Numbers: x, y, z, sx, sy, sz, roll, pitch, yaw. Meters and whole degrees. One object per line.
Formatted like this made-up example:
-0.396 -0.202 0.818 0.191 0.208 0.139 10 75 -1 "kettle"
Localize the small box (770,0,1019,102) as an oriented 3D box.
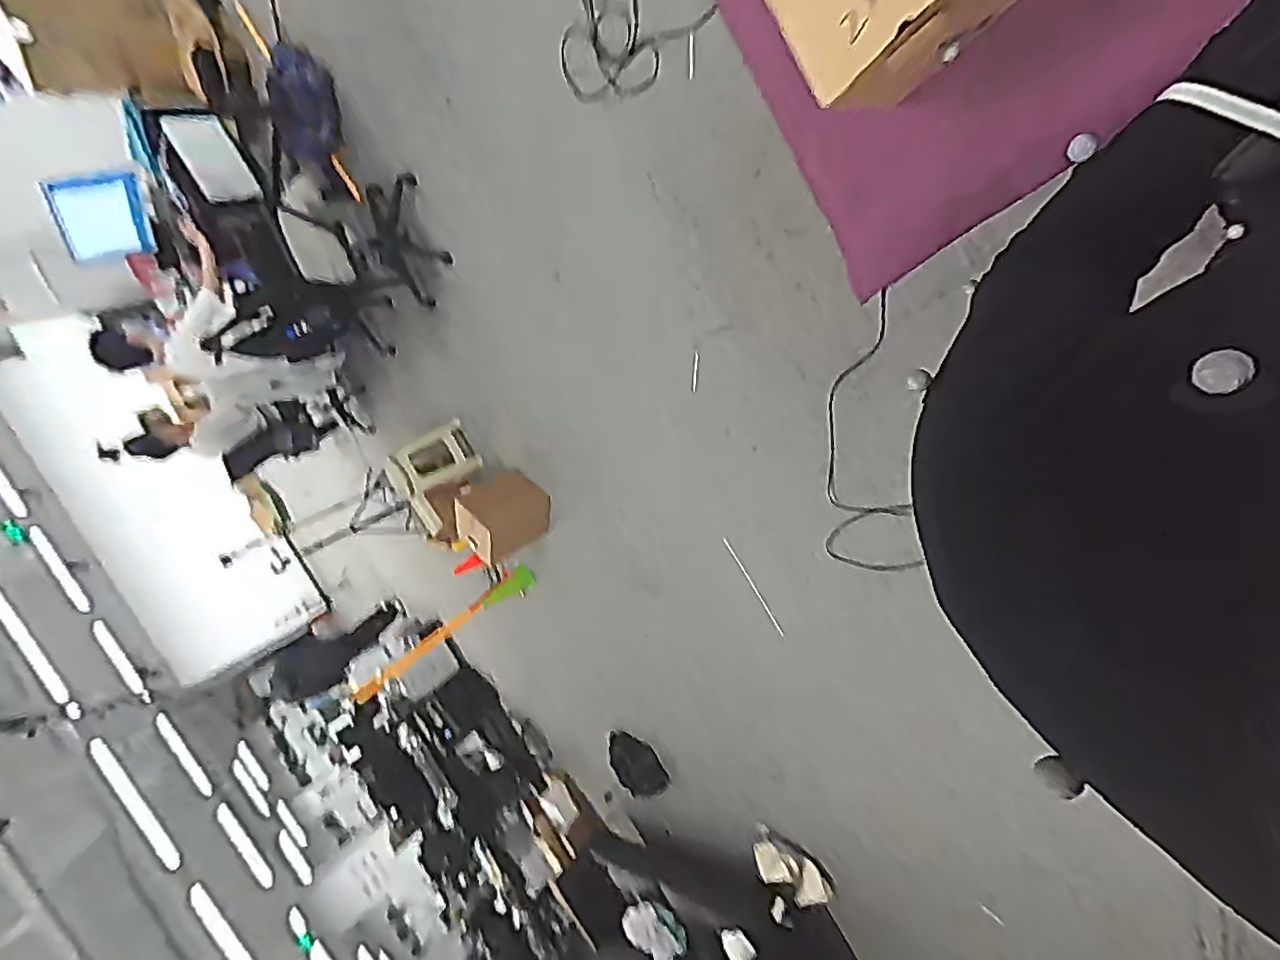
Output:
0.233 -0.485 0.498 0.168 0.176 0.179 -24 97 52 "small box"
